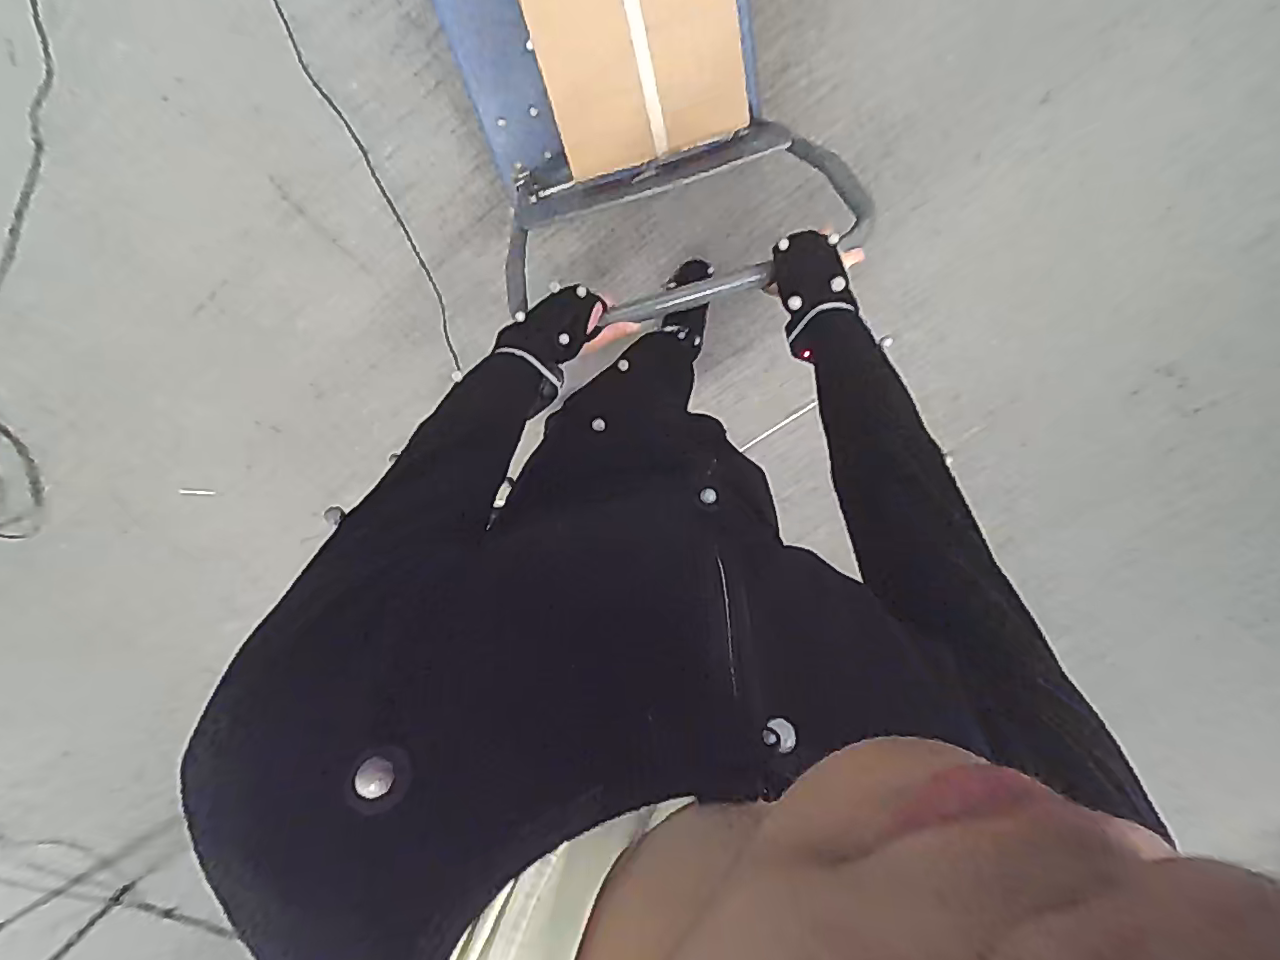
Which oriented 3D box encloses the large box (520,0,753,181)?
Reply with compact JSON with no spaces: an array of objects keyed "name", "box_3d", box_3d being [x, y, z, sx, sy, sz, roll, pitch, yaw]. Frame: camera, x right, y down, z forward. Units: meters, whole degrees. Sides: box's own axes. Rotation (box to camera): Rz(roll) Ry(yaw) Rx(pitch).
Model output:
[{"name":"large box","box_3d":[-0.026,-0.789,0.912,0.320,0.320,0.408,-16,127,4]}]
